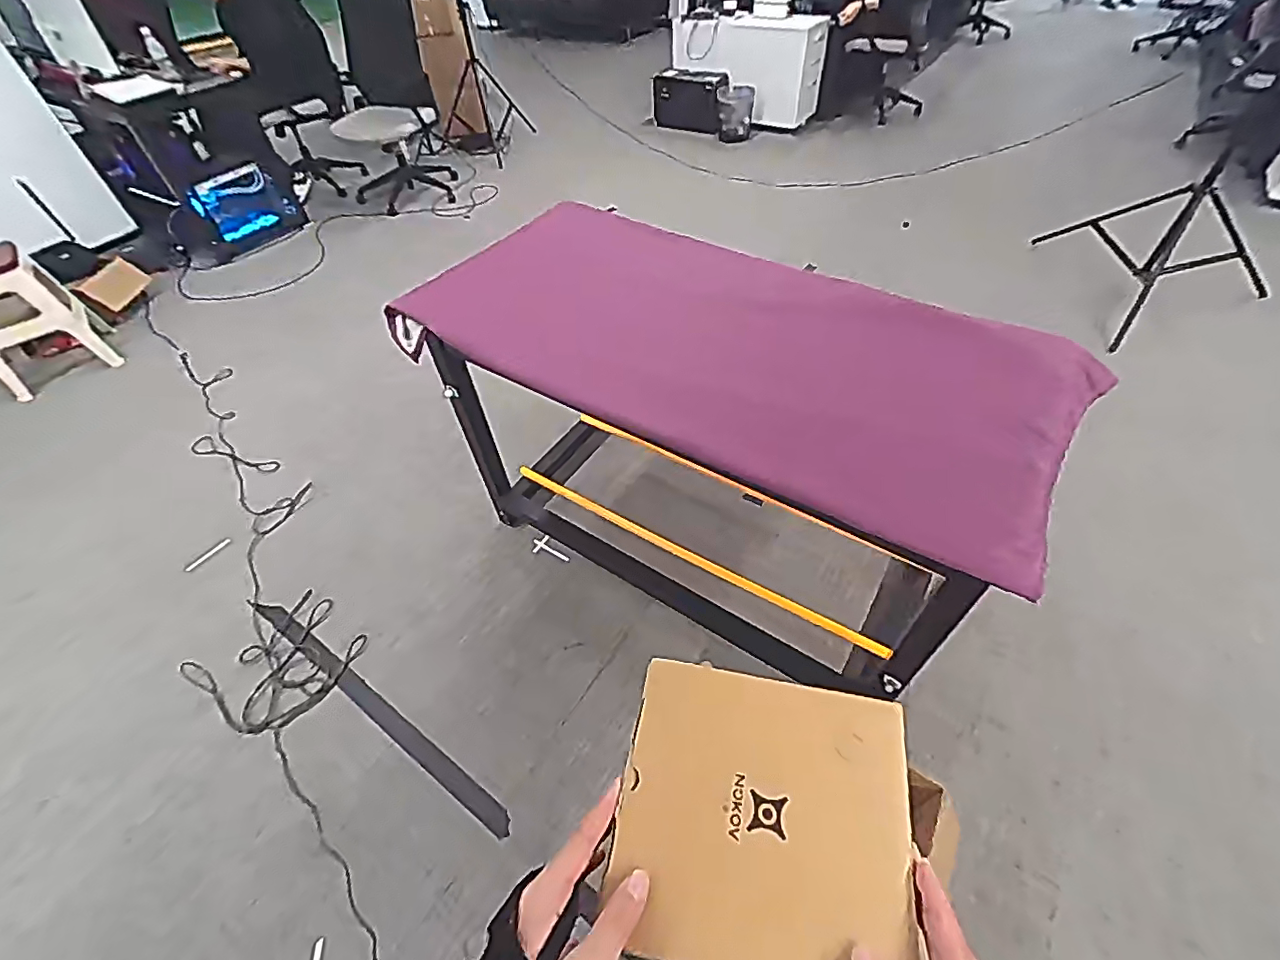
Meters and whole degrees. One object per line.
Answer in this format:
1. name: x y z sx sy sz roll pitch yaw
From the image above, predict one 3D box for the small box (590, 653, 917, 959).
1. small box: 0.081 0.250 0.395 0.179 0.176 0.168 6 52 13
